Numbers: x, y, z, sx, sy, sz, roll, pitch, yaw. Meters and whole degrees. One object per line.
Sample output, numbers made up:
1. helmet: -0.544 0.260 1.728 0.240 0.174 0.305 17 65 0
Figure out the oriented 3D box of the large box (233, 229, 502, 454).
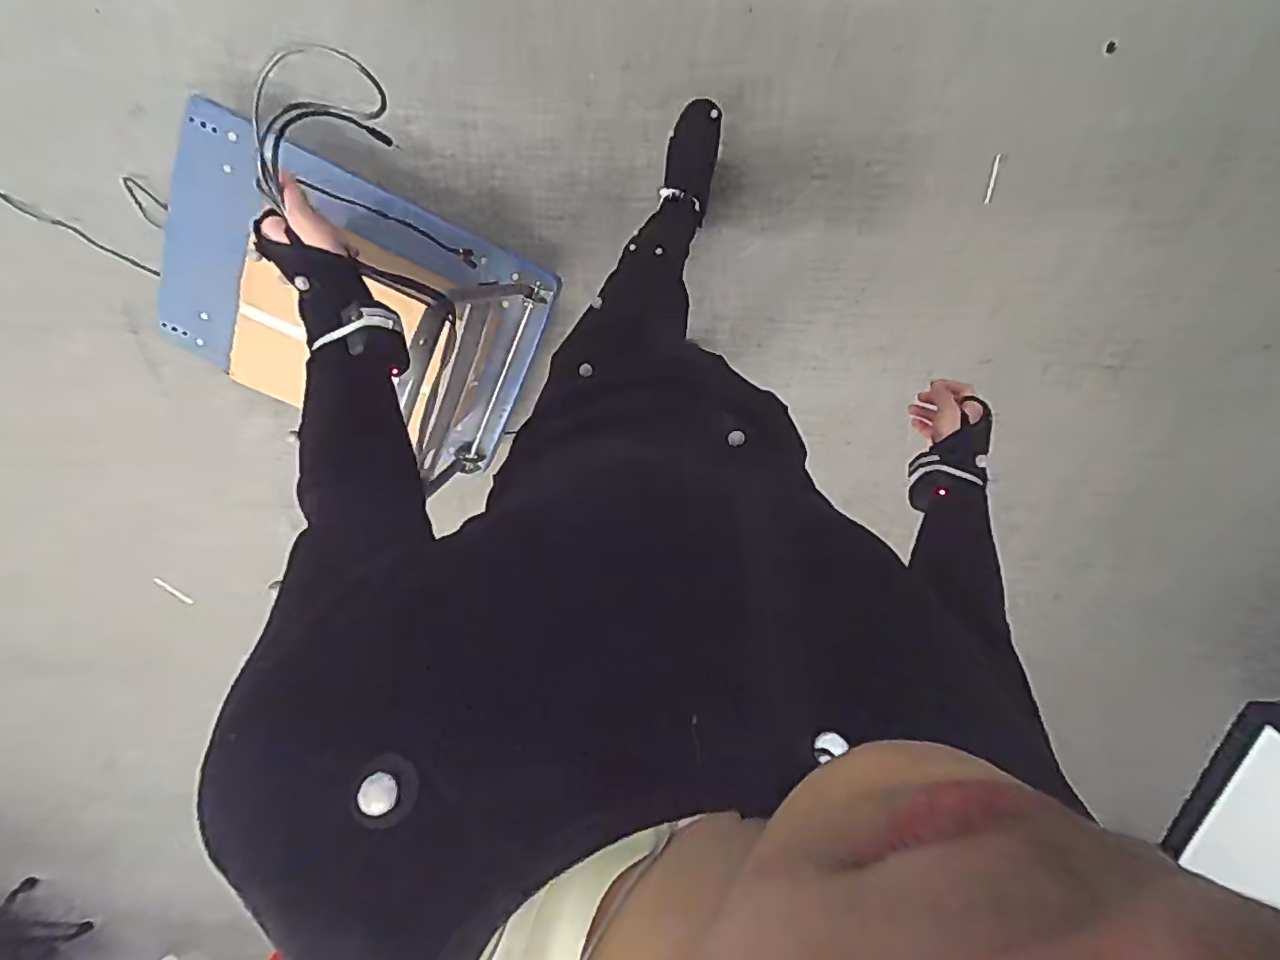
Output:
1. large box: -0.571 -0.312 1.192 0.408 0.320 0.320 24 111 -8
